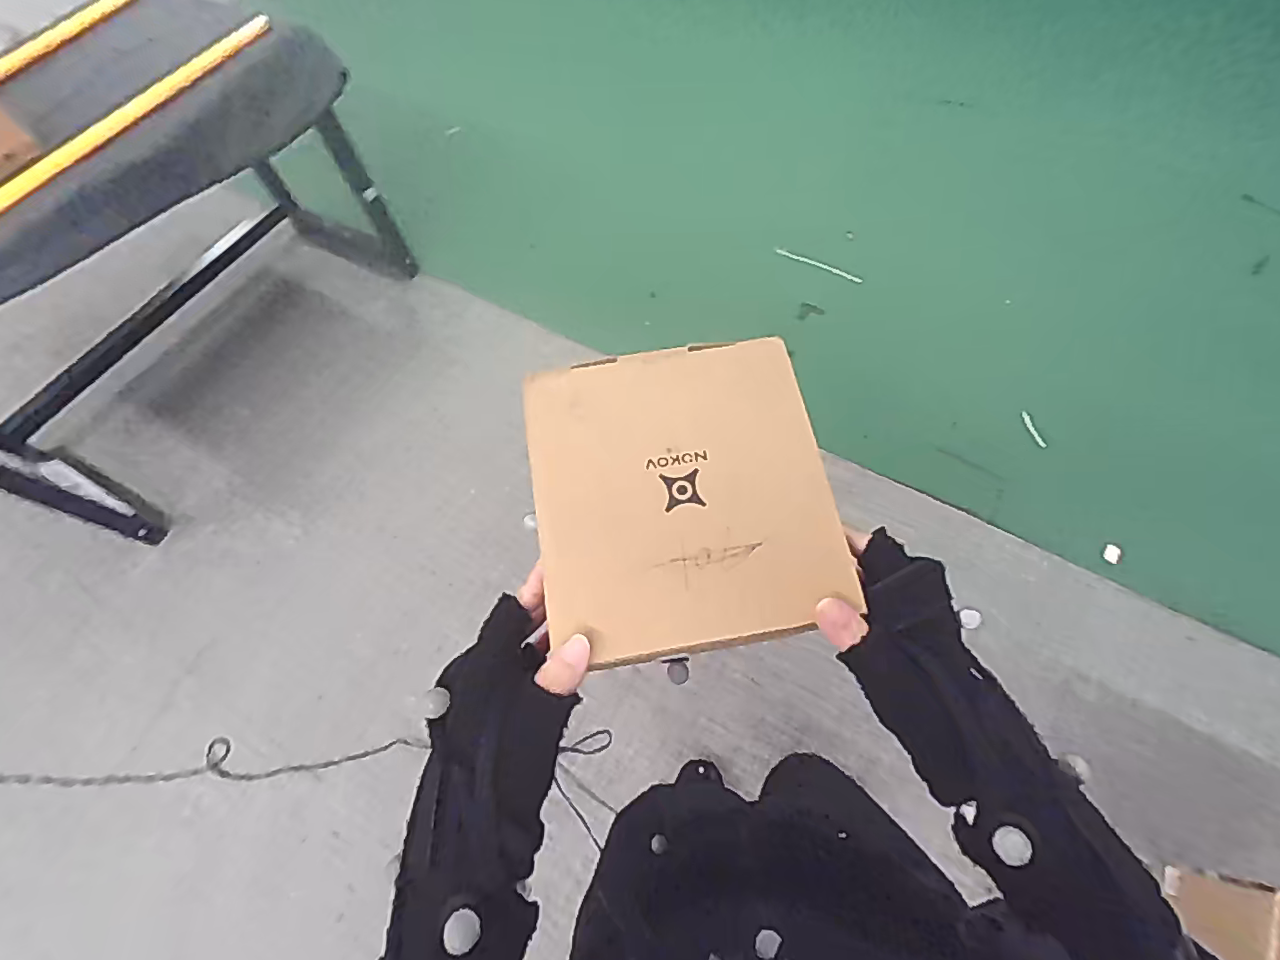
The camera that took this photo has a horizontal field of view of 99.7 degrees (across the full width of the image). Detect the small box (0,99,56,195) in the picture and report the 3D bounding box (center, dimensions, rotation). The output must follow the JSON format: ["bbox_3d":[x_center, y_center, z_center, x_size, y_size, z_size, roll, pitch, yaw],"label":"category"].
[{"bbox_3d":[-1.317,-0.674,1.038,0.179,0.176,0.168,24,69,15],"label":"small box"}]

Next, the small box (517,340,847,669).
[{"bbox_3d":[0.016,0.029,0.385,0.168,0.176,0.179,-10,70,-3],"label":"small box"}]
